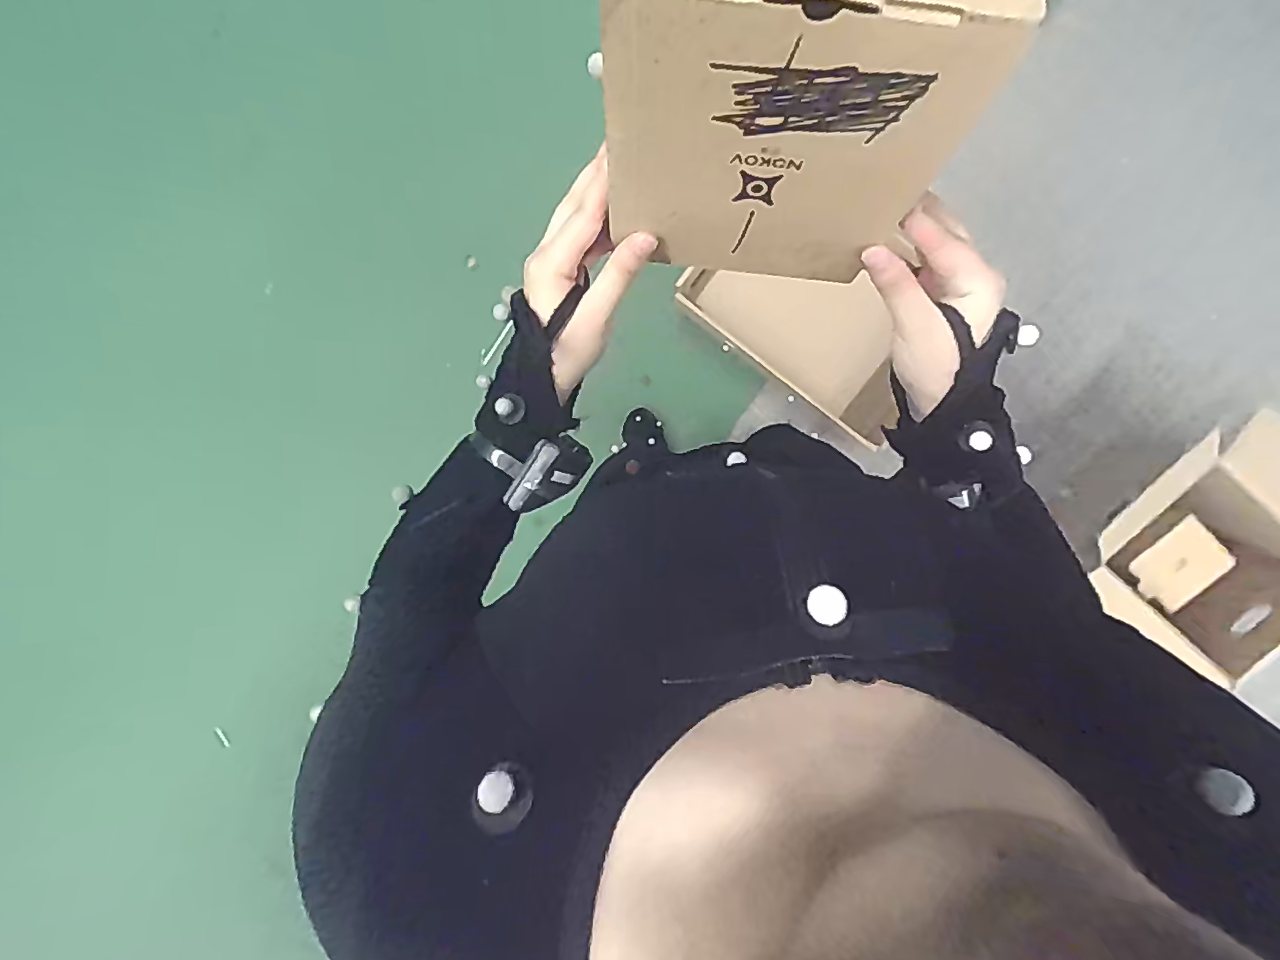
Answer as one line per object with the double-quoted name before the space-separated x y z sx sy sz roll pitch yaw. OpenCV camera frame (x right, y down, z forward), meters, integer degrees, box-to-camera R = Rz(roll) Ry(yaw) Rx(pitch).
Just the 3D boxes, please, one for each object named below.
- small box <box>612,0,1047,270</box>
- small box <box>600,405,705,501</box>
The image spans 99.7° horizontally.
"small box" 0.072 -0.243 0.292 0.168 0.179 0.176 5 80 -1
"small box" 0.038 -0.069 1.370 0.176 0.168 0.179 36 74 -30
